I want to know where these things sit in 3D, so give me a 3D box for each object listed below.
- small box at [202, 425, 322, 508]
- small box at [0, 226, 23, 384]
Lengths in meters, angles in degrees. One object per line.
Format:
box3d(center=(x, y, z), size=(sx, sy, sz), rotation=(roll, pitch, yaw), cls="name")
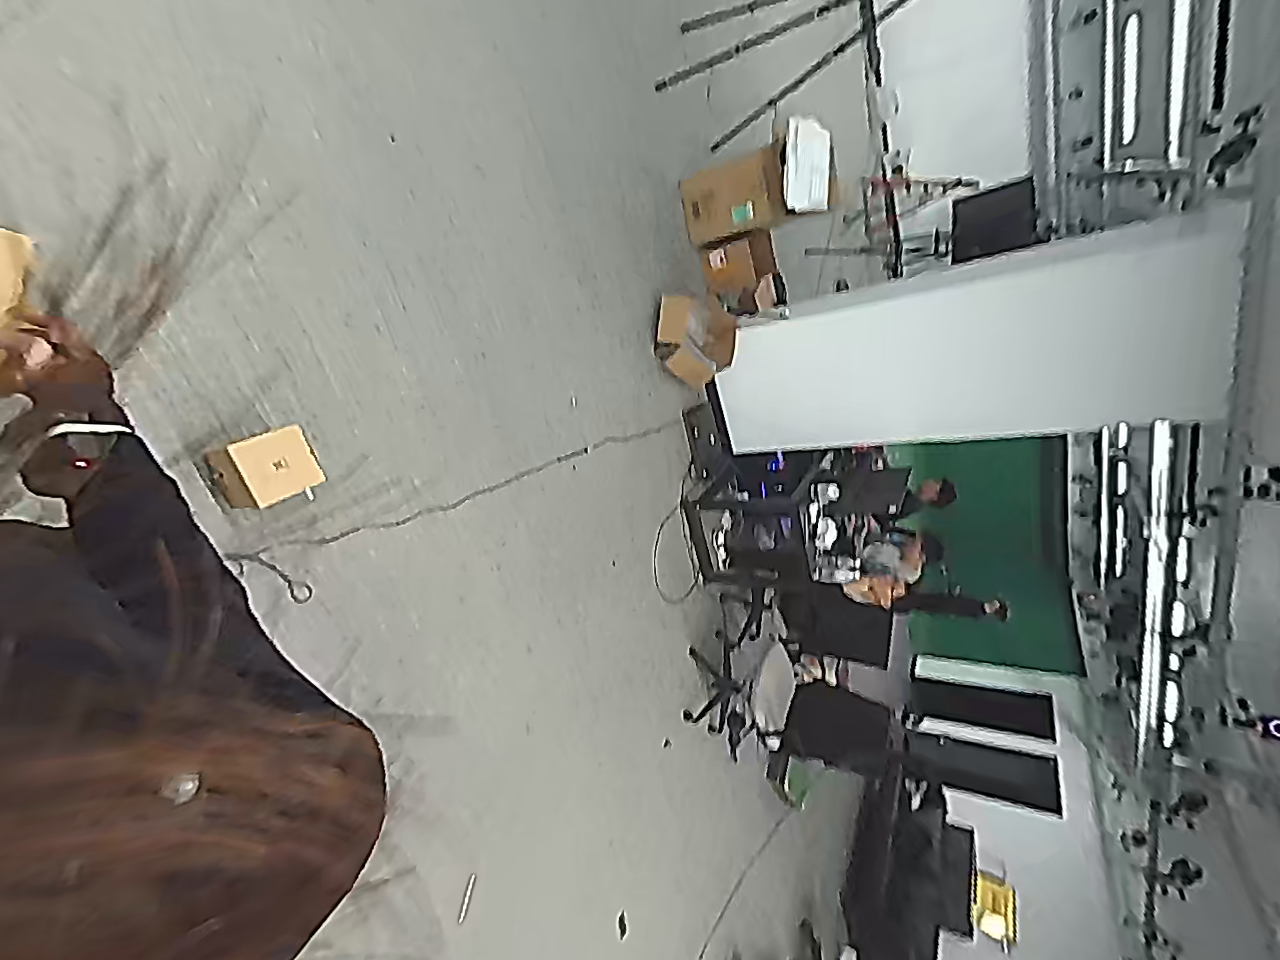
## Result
box3d(center=(-0.982, -0.036, 1.408), size=(0.179, 0.176, 0.168), rotation=(-39, 118, -49), cls="small box")
box3d(center=(-0.753, -0.185, 0.529), size=(0.179, 0.176, 0.168), rotation=(7, 90, -54), cls="small box")
